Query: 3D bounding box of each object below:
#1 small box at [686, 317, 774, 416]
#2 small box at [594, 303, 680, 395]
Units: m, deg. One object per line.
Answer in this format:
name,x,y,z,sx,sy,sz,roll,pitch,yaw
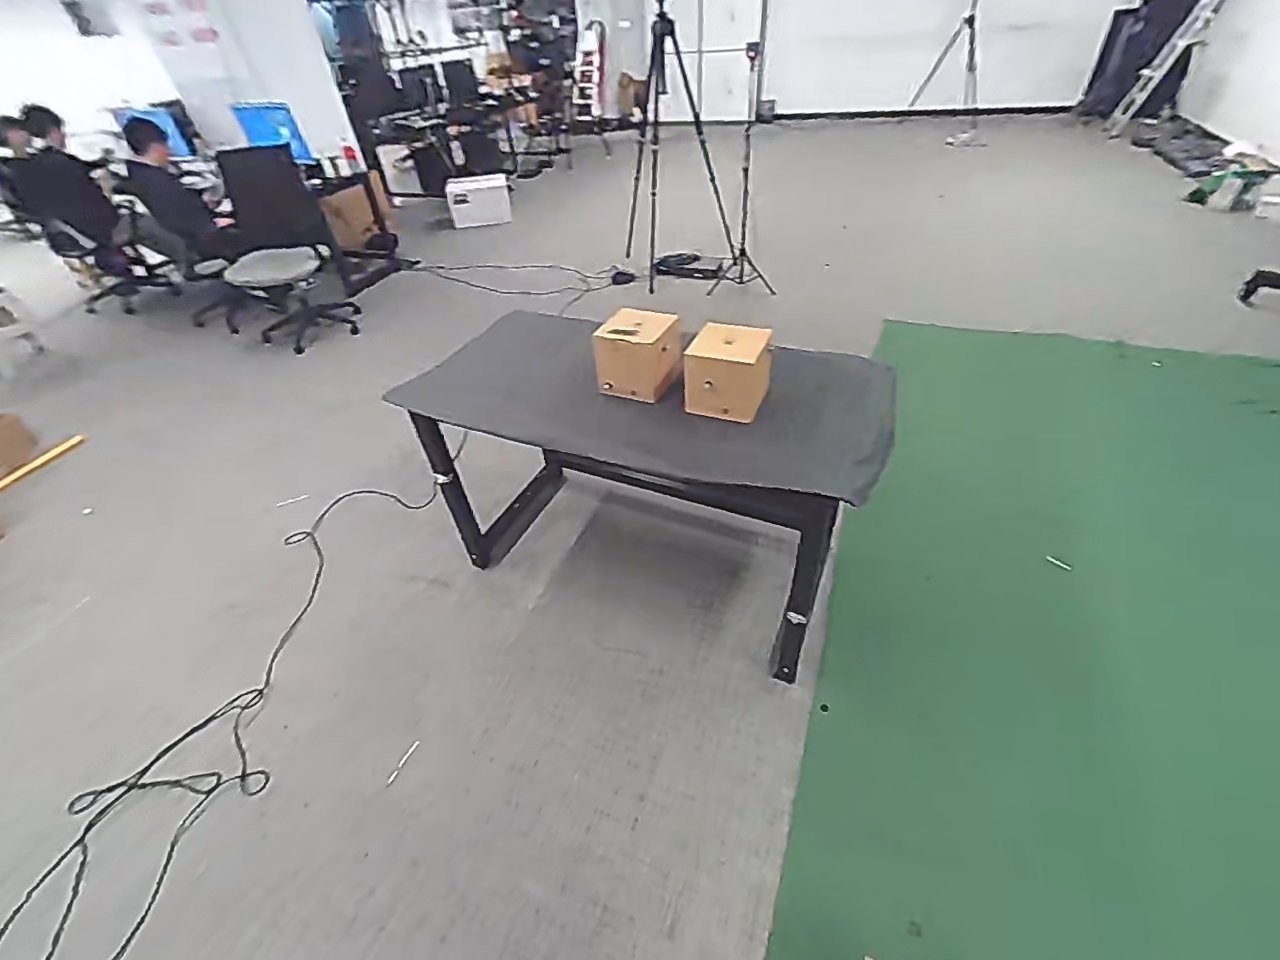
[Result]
small box,0.220,-0.276,1.317,0.168,0.176,0.179,13,44,21
small box,0.002,-0.342,1.414,0.168,0.176,0.179,15,45,22
